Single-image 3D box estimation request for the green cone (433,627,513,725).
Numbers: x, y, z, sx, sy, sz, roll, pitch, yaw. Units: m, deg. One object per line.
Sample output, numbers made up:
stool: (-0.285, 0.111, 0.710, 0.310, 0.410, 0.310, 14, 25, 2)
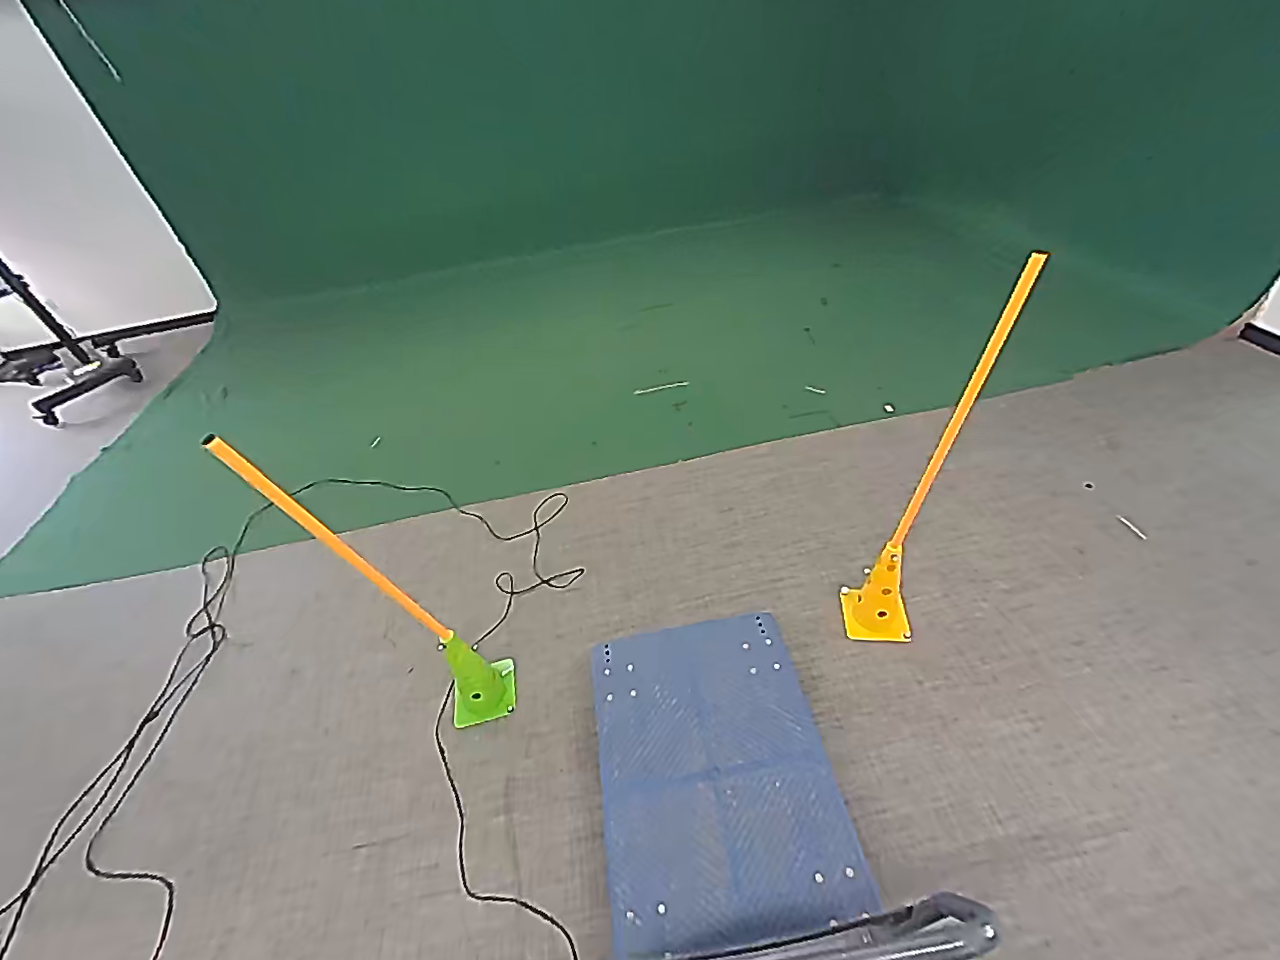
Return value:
green cone: (-0.545, 0.564, 1.669, 0.202, 0.368, 0.200, -15, 42, -4)
